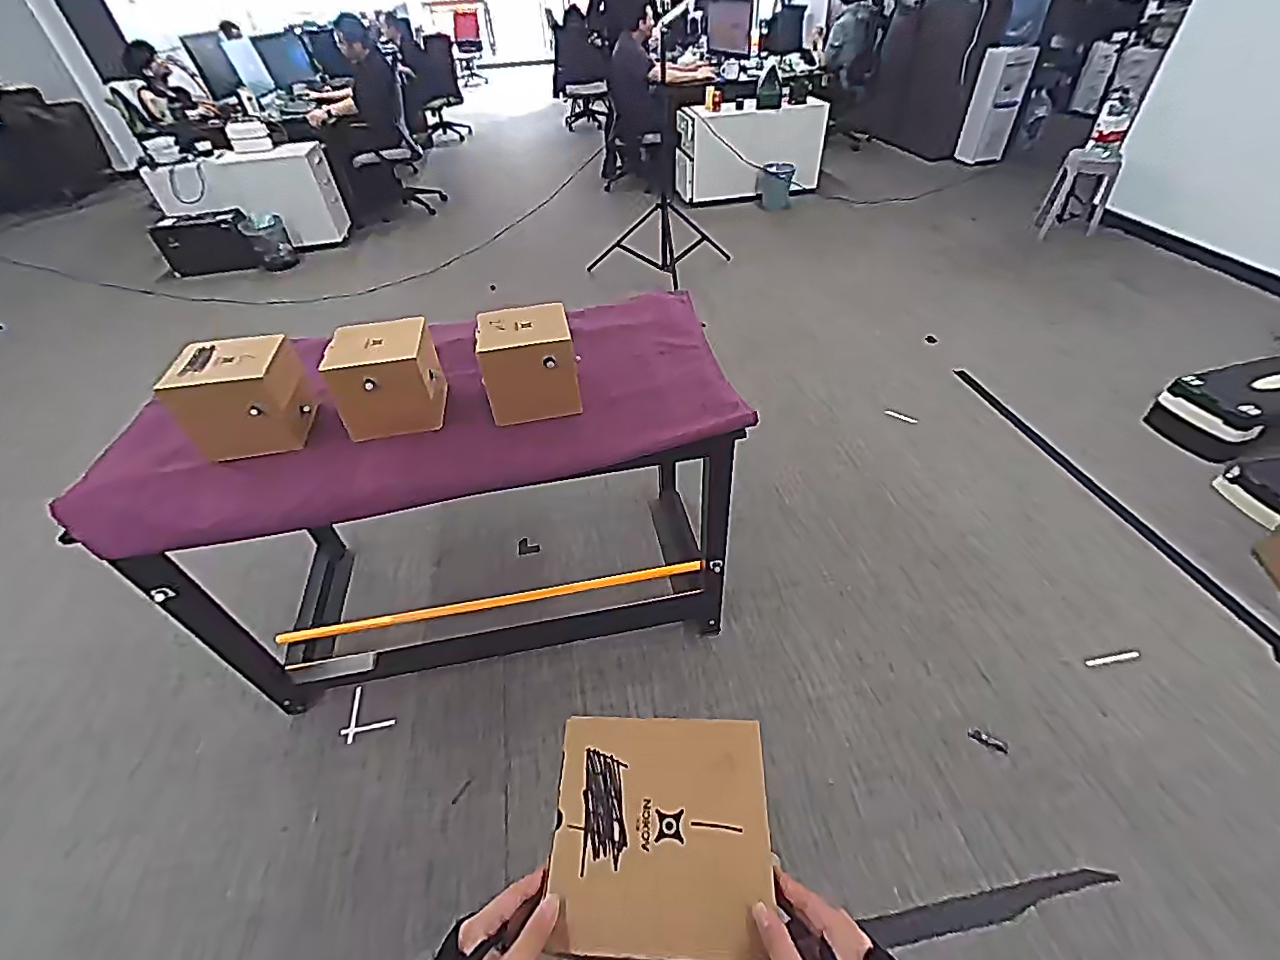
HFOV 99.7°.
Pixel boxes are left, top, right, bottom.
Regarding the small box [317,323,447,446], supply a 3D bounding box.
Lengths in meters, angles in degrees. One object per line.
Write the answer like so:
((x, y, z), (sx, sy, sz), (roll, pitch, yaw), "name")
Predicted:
((-0.499, -0.189, 1.080), (0.179, 0.176, 0.168), (-10, 43, -5), "small box")

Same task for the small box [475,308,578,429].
((-0.223, -0.224, 1.090), (0.179, 0.176, 0.168), (-10, 41, -6), "small box")

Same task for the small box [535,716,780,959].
((0.023, 0.328, 0.487), (0.179, 0.176, 0.168), (-2, 47, 6), "small box")
